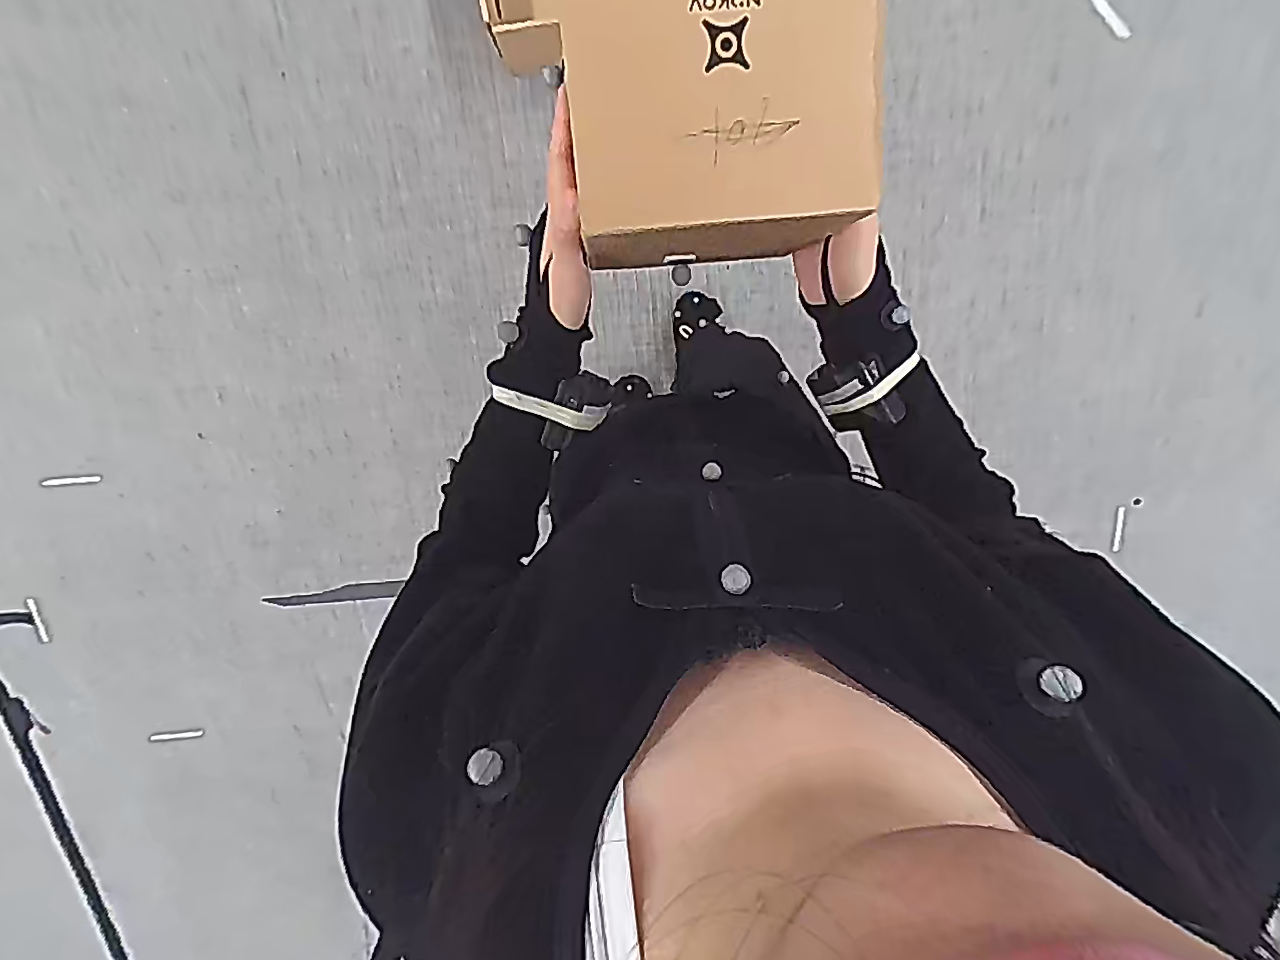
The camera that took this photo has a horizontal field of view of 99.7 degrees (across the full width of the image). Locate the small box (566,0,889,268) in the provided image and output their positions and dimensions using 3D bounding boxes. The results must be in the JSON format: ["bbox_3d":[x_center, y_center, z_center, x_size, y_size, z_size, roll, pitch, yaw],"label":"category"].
[{"bbox_3d":[0.041,-0.246,0.351,0.168,0.176,0.179,-6,105,-2],"label":"small box"}]
